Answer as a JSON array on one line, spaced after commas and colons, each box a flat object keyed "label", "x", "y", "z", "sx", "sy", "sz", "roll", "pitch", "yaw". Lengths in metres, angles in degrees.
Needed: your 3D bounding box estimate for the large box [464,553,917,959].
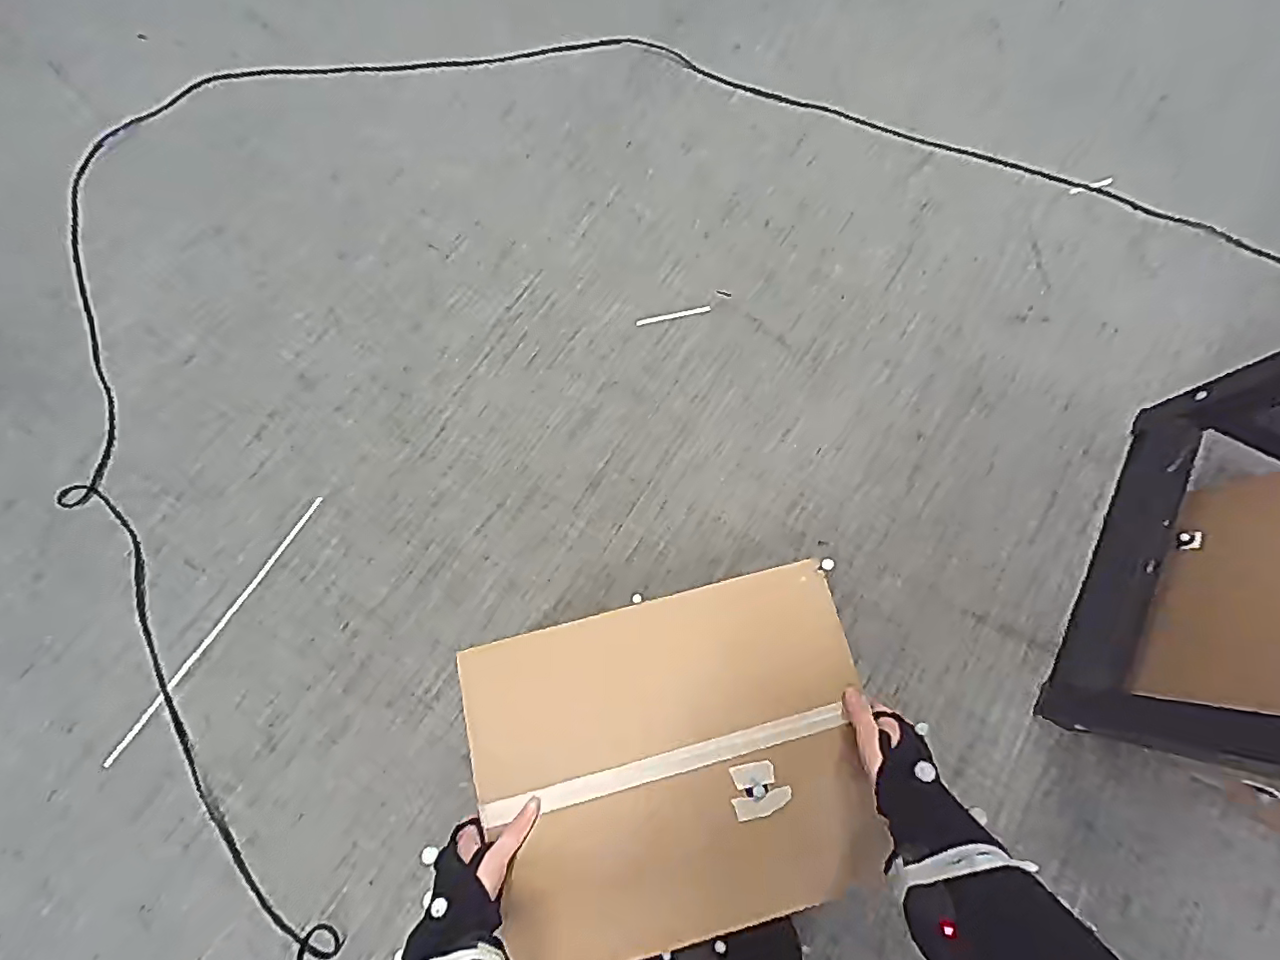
[{"label": "large box", "x": 0.040, "y": 0.311, "z": 0.691, "sx": 0.408, "sy": 0.320, "sz": 0.320, "roll": -14, "pitch": 77, "yaw": -4}]
